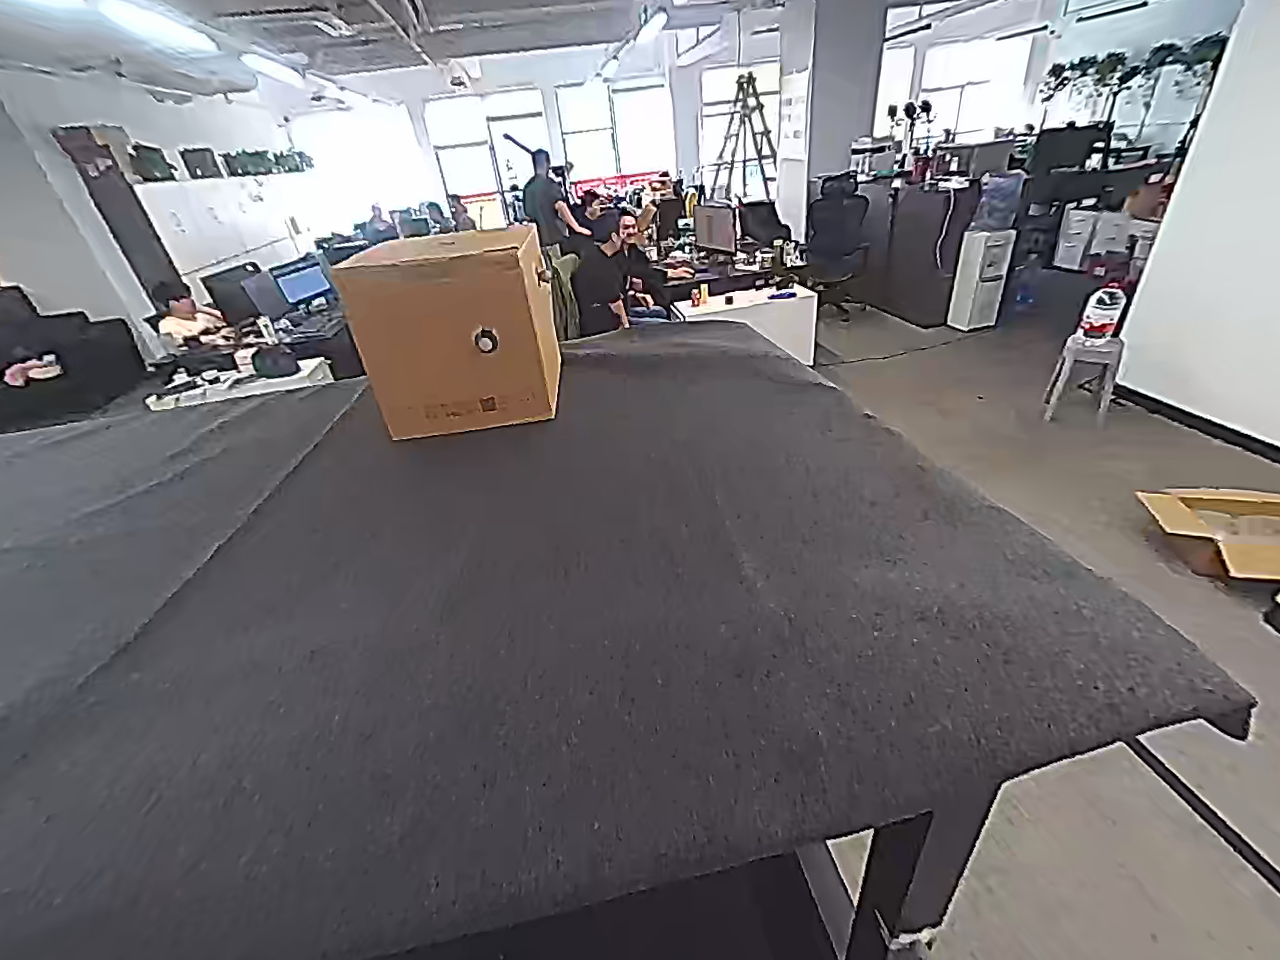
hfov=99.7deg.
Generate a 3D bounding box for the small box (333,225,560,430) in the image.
[{"bbox_3d":[-0.180,-0.159,0.571,0.168,0.176,0.179,-7,31,-2],"label":"small box"}]
